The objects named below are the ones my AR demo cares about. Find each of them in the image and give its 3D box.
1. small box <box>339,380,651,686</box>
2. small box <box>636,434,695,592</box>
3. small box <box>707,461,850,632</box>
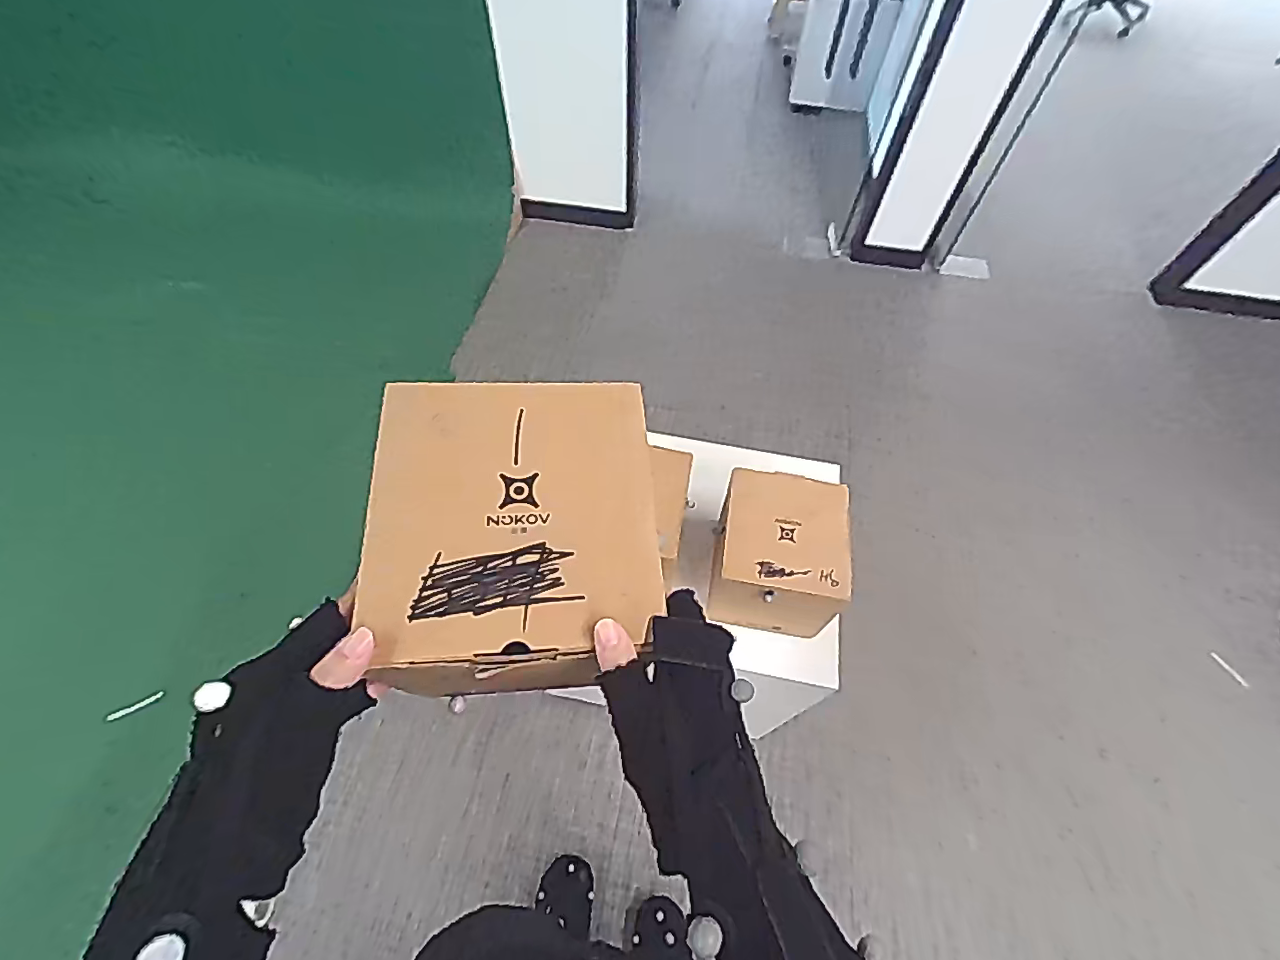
[{"bbox_3d":[-0.088,0.048,0.390,0.168,0.176,0.179,-1,63,-9],"label":"small box"},{"bbox_3d":[-0.017,0.048,0.809,0.168,0.176,0.179,8,60,5],"label":"small box"},{"bbox_3d":[0.197,0.101,0.795,0.168,0.176,0.179,10,58,5],"label":"small box"}]
